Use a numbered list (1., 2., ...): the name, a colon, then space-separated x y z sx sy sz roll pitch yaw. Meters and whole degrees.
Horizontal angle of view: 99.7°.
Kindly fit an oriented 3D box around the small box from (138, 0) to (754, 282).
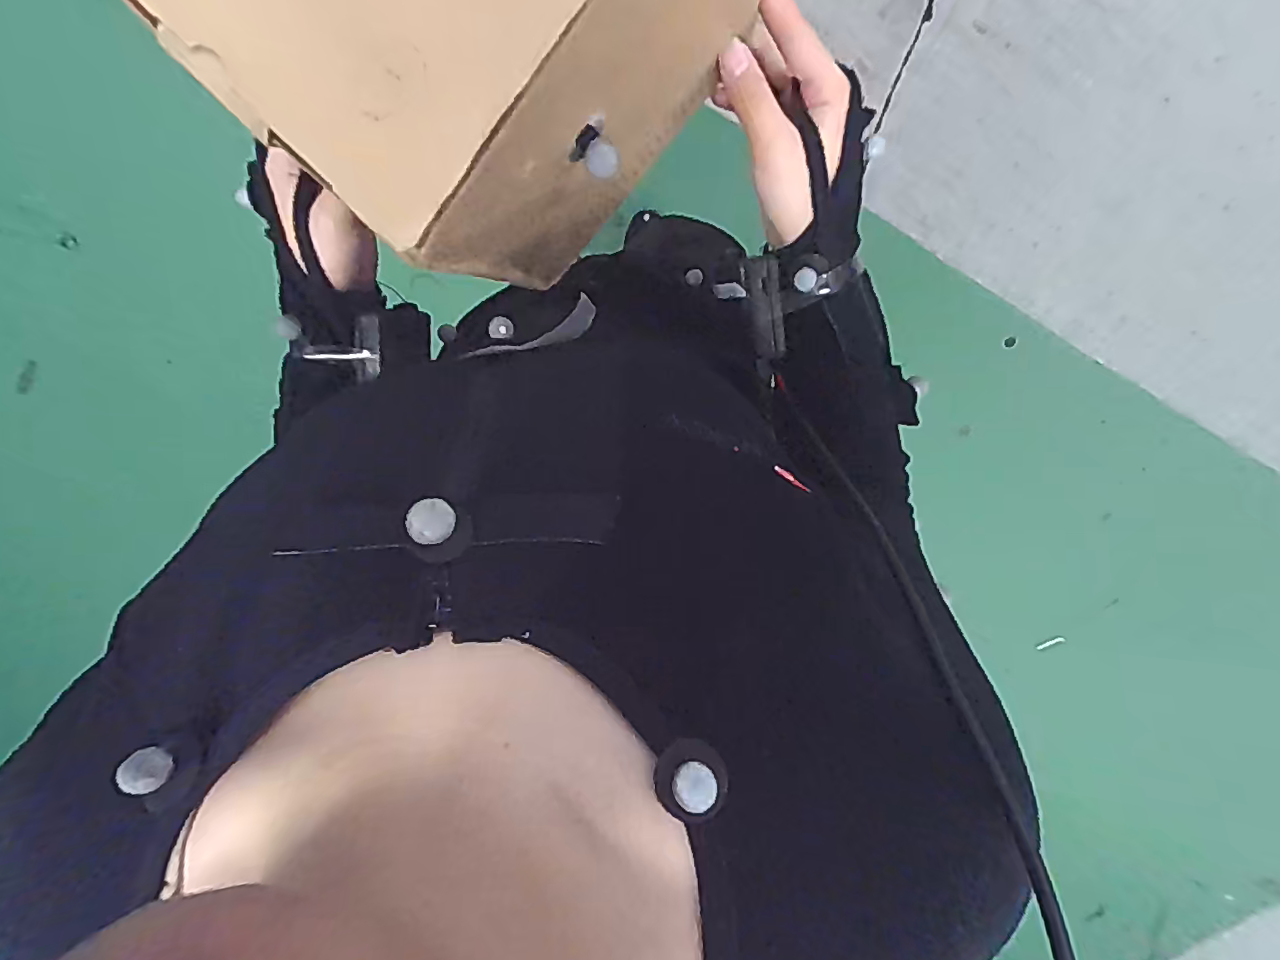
1. small box: -0.062 -0.206 0.228 0.168 0.176 0.179 44 107 -6
